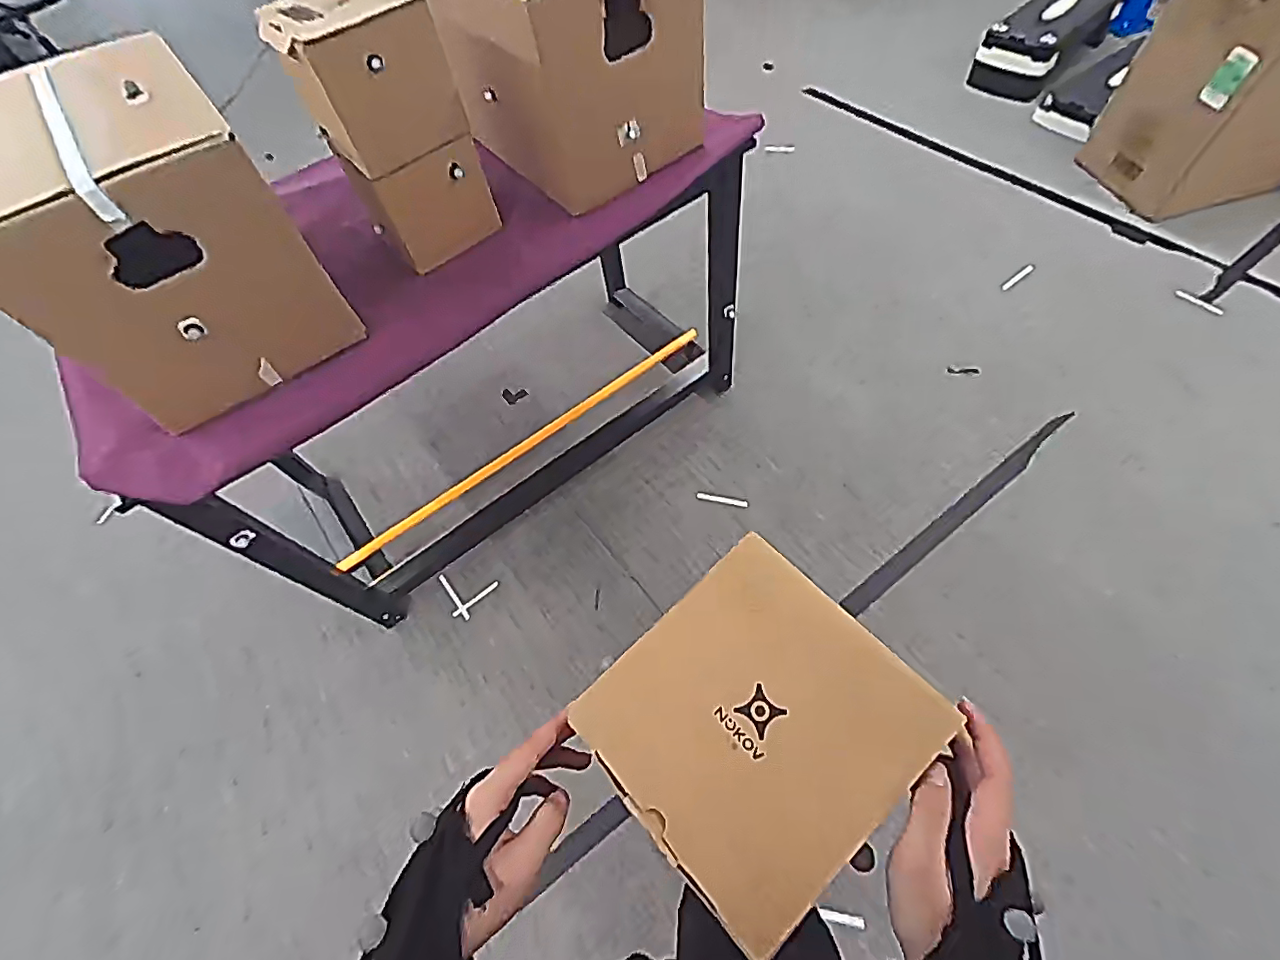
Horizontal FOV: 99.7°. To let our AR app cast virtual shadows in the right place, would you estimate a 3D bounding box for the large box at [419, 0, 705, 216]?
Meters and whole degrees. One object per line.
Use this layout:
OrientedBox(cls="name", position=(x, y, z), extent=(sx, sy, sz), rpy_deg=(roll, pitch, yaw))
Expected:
OrientedBox(cls="large box", position=(-0.131, -0.744, 0.953), extent=(0.320, 0.320, 0.408), rpy_deg=(-36, 61, -14))
